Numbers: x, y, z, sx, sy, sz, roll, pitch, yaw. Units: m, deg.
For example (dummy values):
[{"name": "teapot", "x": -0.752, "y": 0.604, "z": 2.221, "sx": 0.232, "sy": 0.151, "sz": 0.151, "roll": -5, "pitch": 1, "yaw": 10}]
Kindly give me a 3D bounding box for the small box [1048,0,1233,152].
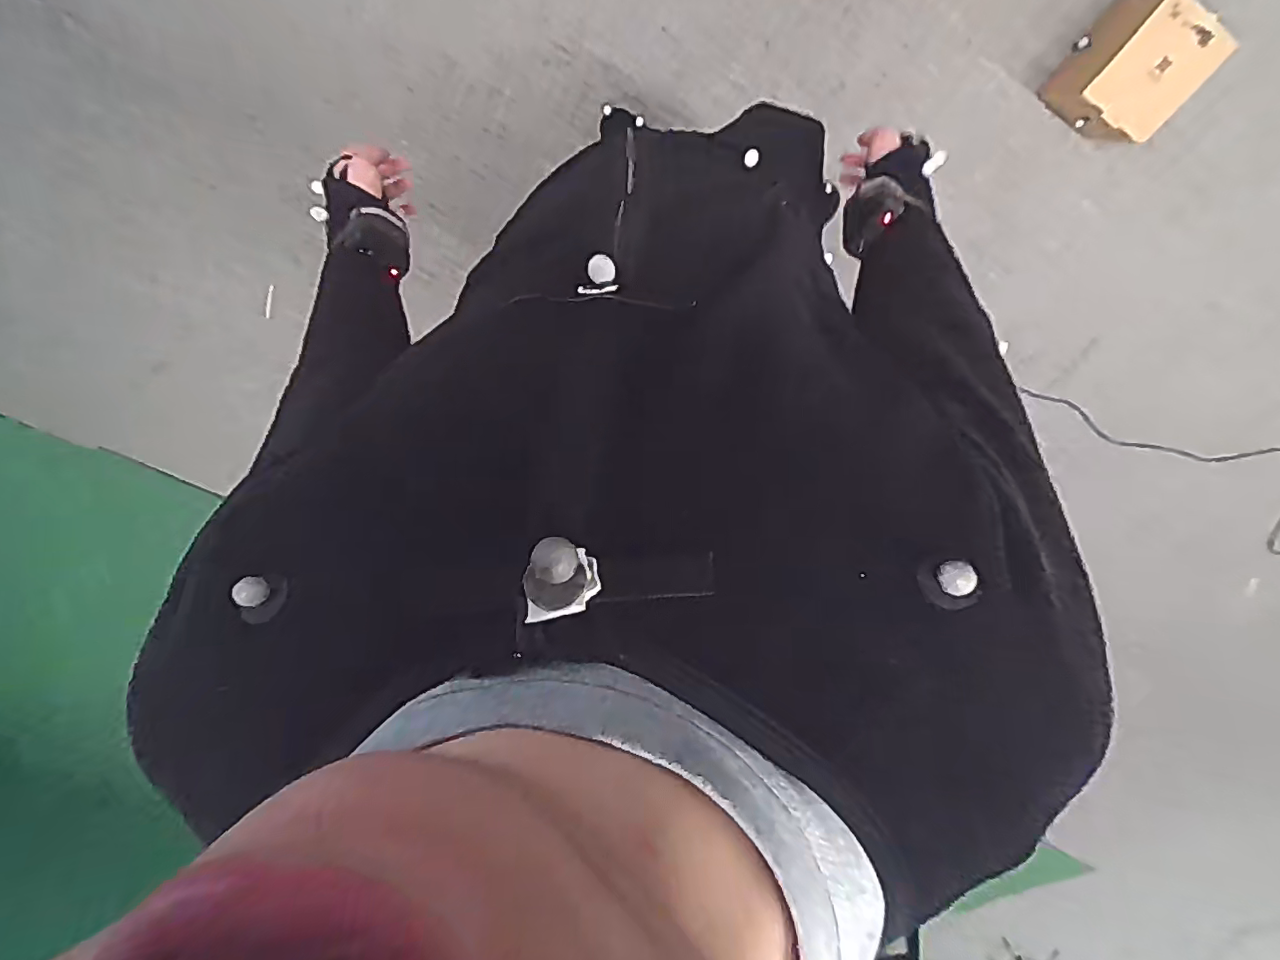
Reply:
[{"name": "small box", "x": 0.936, "y": -0.769, "z": 1.038, "sx": 0.168, "sy": 0.176, "sz": 0.179, "roll": 28, "pitch": 124, "yaw": -12}]
